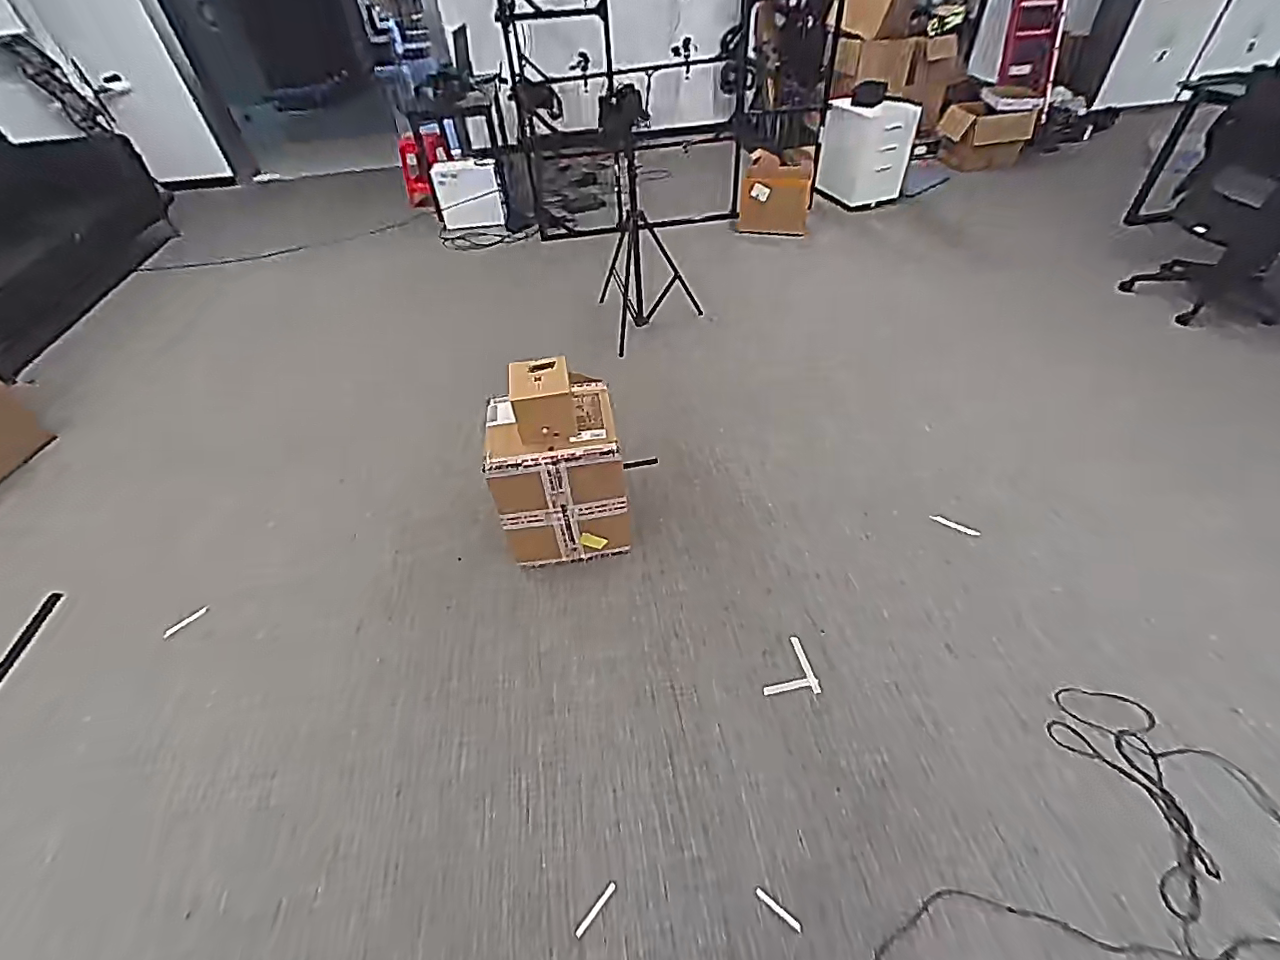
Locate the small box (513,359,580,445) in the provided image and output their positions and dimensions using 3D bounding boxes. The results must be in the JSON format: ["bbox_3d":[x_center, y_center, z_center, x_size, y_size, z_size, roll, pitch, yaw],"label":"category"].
[{"bbox_3d":[-0.271,-0.226,1.573,0.168,0.176,0.179,-10,49,-4],"label":"small box"}]
